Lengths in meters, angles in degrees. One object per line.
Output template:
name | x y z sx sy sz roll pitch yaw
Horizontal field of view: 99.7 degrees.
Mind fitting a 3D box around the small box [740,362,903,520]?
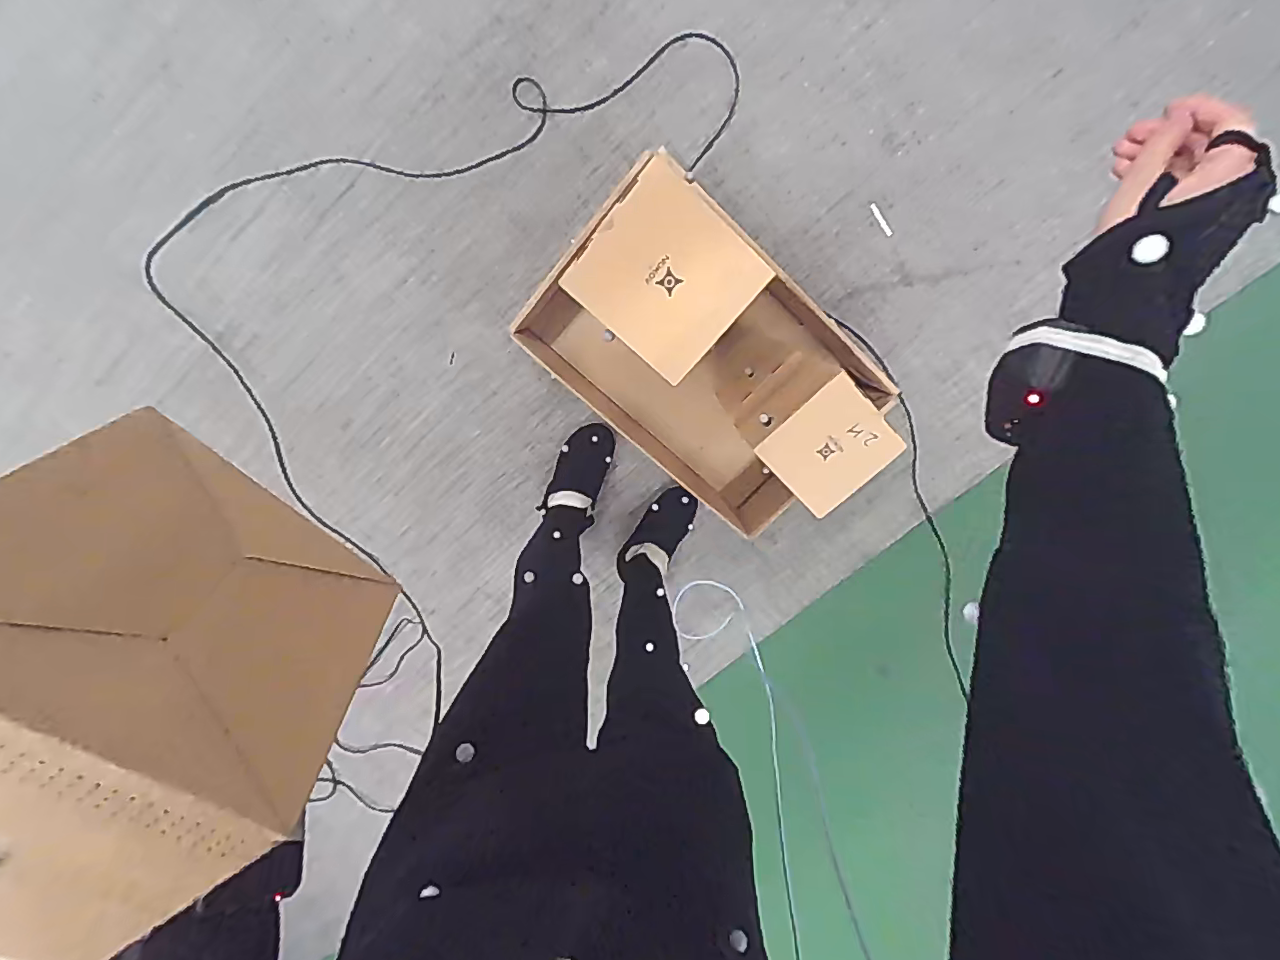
small box | 0.283 -0.071 0.893 0.179 0.176 0.168 -42 105 12

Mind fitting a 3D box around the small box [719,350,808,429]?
small box | 0.272 -0.136 1.044 0.168 0.176 0.179 -42 104 13

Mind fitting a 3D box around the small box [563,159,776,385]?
small box | 0.034 -0.247 0.660 0.179 0.176 0.168 40 106 -12
